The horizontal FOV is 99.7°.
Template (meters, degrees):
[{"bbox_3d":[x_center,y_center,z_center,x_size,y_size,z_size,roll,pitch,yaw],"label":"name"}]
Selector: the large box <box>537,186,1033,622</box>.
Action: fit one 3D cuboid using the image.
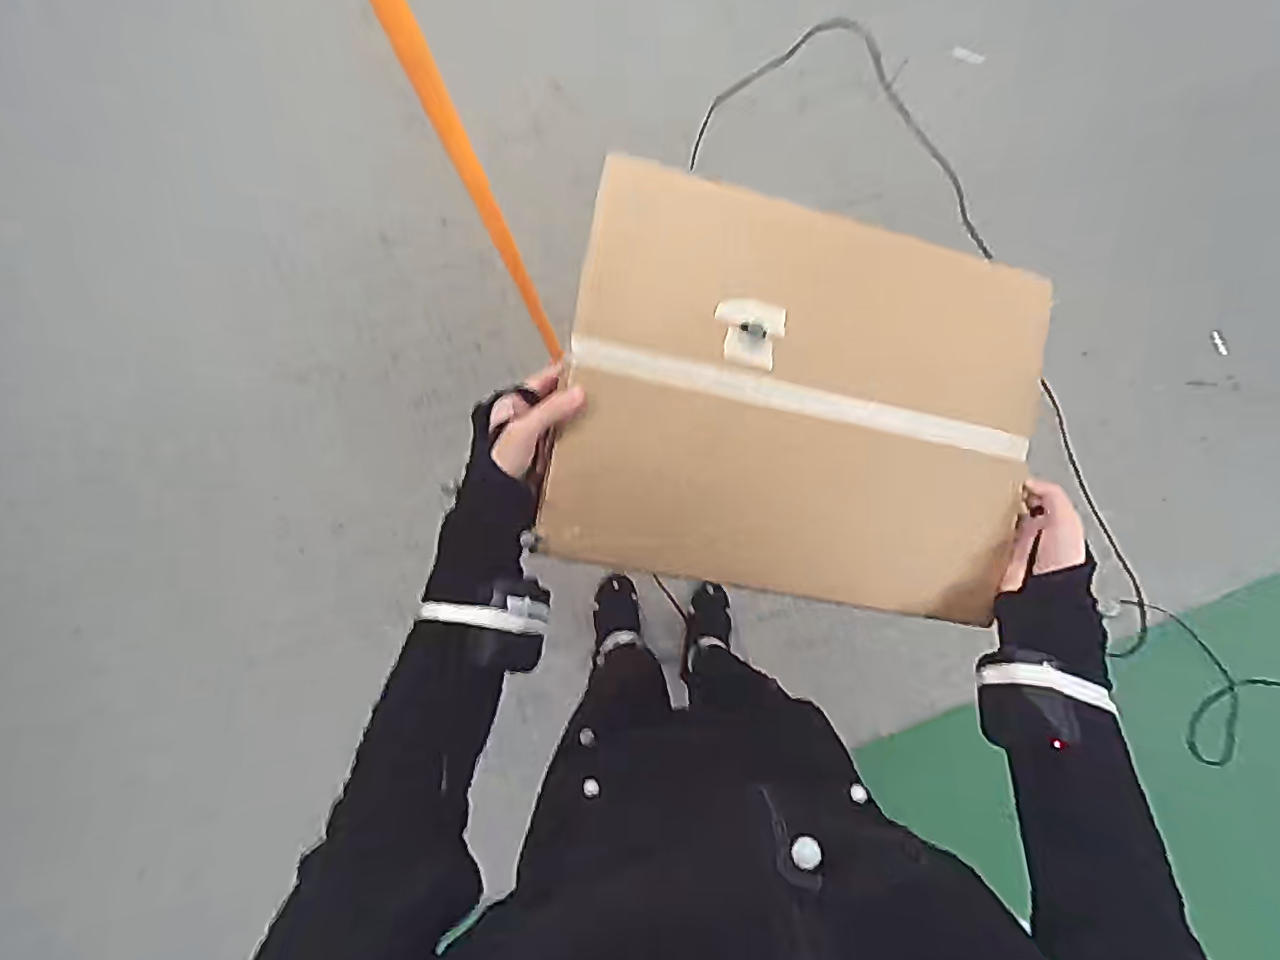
[{"bbox_3d":[0.115,-0.058,0.605,0.408,0.320,0.320,11,90,-9],"label":"large box"}]
